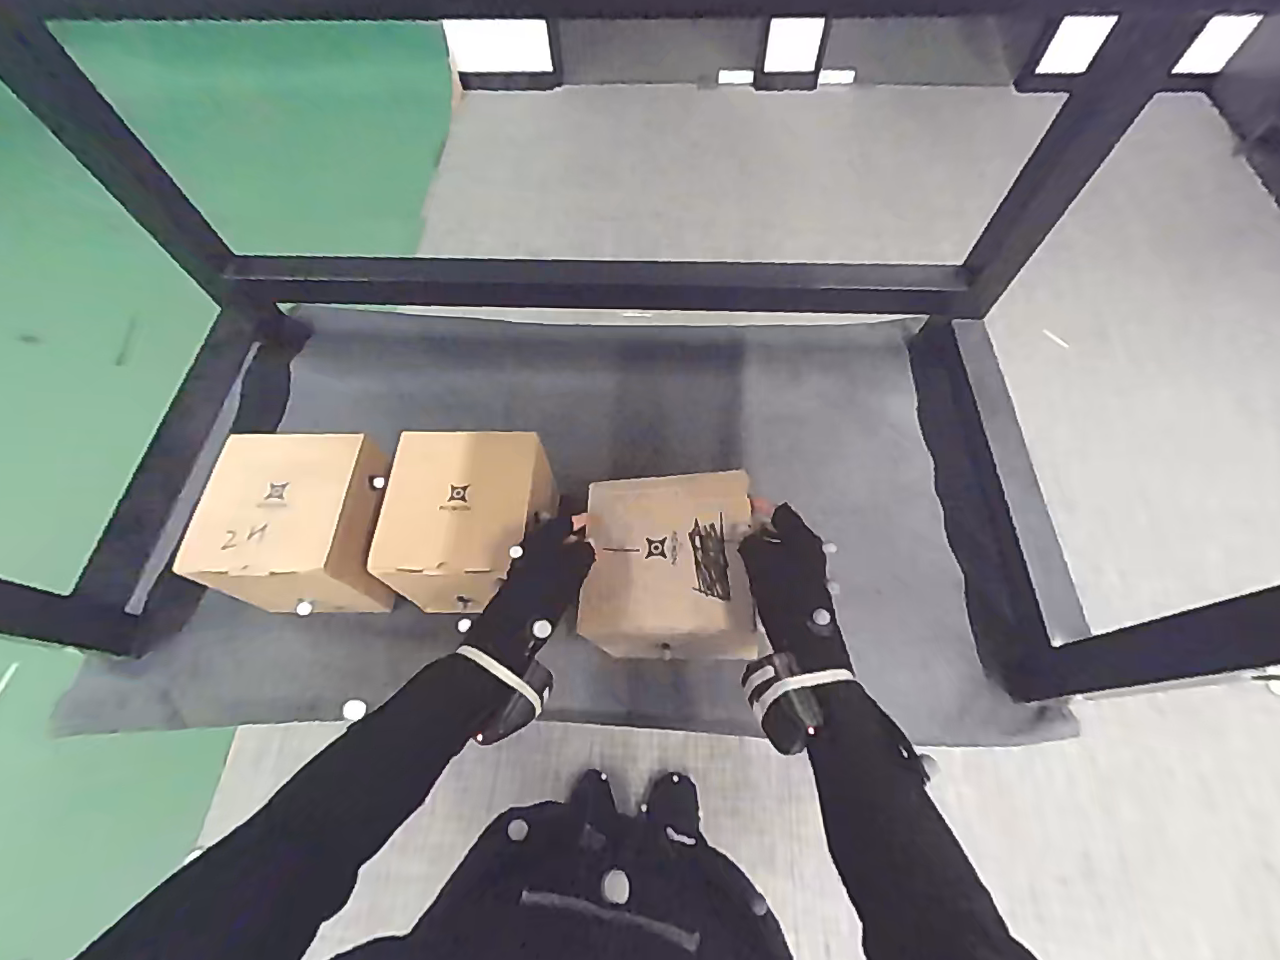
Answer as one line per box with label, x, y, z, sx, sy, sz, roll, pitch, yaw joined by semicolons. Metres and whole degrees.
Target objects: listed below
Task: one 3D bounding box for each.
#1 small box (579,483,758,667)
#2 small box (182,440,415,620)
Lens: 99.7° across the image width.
small box;0.042;0.116;0.625;0.179;0.176;0.168;-4;61;11
small box;-0.404;0.067;0.682;0.168;0.176;0.179;0;61;2
